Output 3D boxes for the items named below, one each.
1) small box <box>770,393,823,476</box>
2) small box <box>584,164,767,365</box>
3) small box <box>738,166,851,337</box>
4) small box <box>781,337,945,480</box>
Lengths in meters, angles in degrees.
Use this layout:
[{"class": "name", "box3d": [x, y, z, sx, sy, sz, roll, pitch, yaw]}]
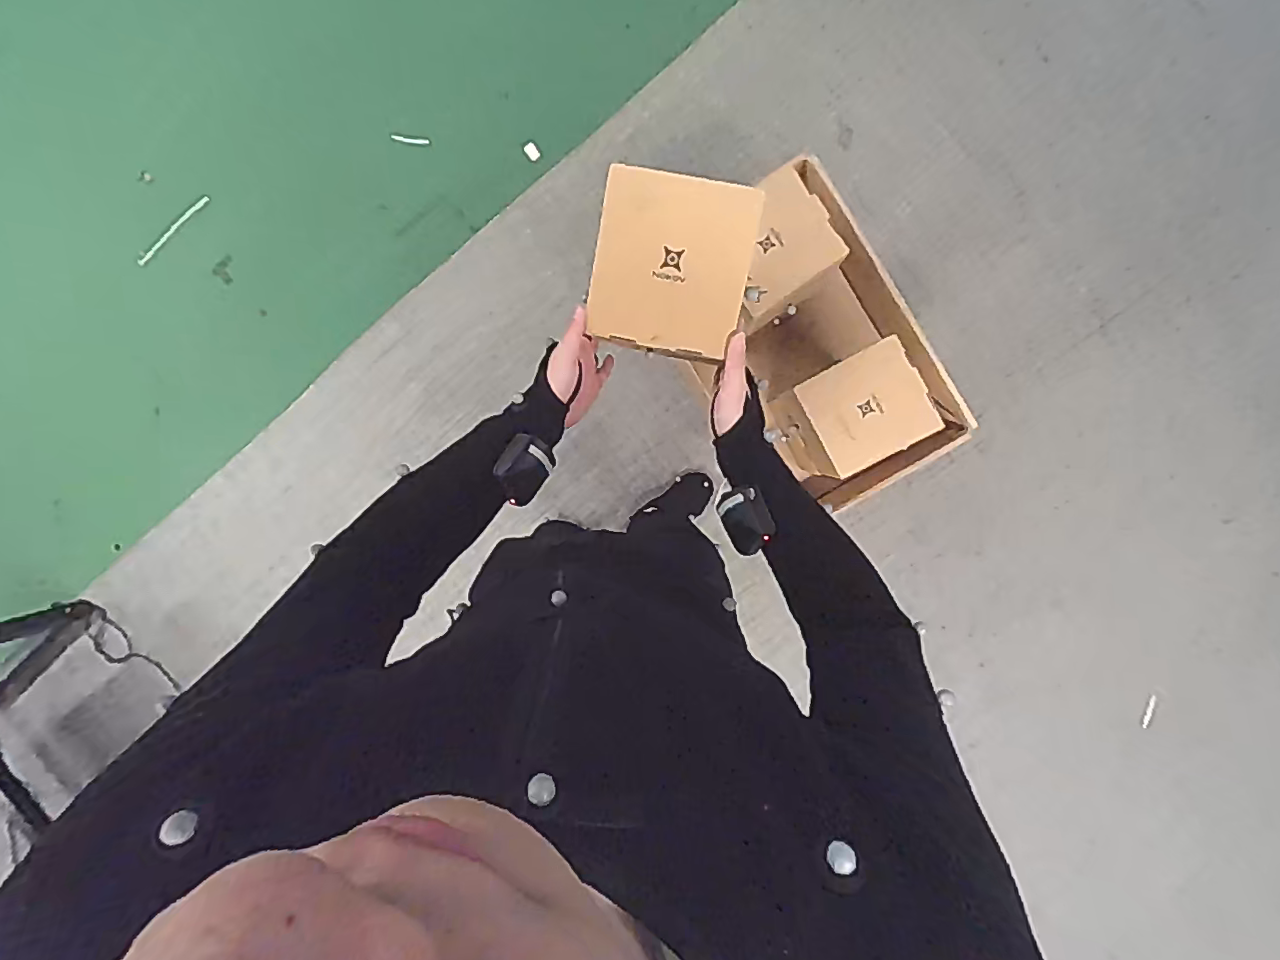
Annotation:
[{"class": "small box", "box3d": [0.378, -0.123, 1.070, 0.179, 0.176, 0.168, -27, 91, 7]}, {"class": "small box", "box3d": [0.038, -0.239, 0.641, 0.168, 0.176, 0.179, 11, 103, 2]}, {"class": "small box", "box3d": [0.210, -0.366, 0.901, 0.179, 0.176, 0.168, -34, 90, 6]}, {"class": "small box", "box3d": [0.360, -0.115, 0.908, 0.179, 0.176, 0.168, -28, 91, 7]}]
